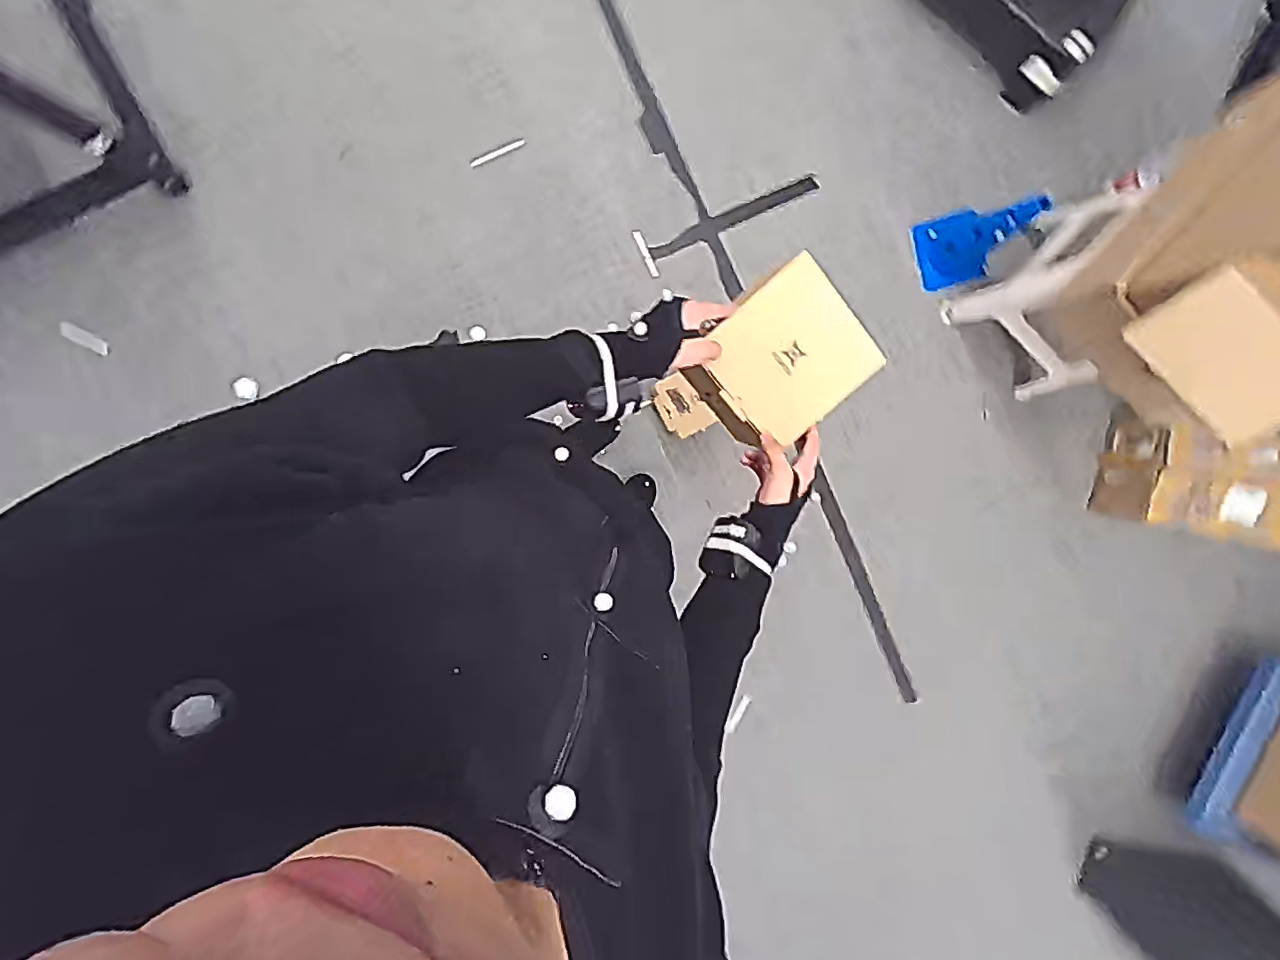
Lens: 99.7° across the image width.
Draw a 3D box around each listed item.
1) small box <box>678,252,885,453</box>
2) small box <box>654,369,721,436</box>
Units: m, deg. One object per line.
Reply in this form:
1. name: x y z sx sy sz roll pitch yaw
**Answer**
1. small box: 0.171 -0.161 0.711 0.179 0.176 0.168 -42 101 3
2. small box: 0.147 -0.232 1.521 0.179 0.176 0.168 -26 97 0
